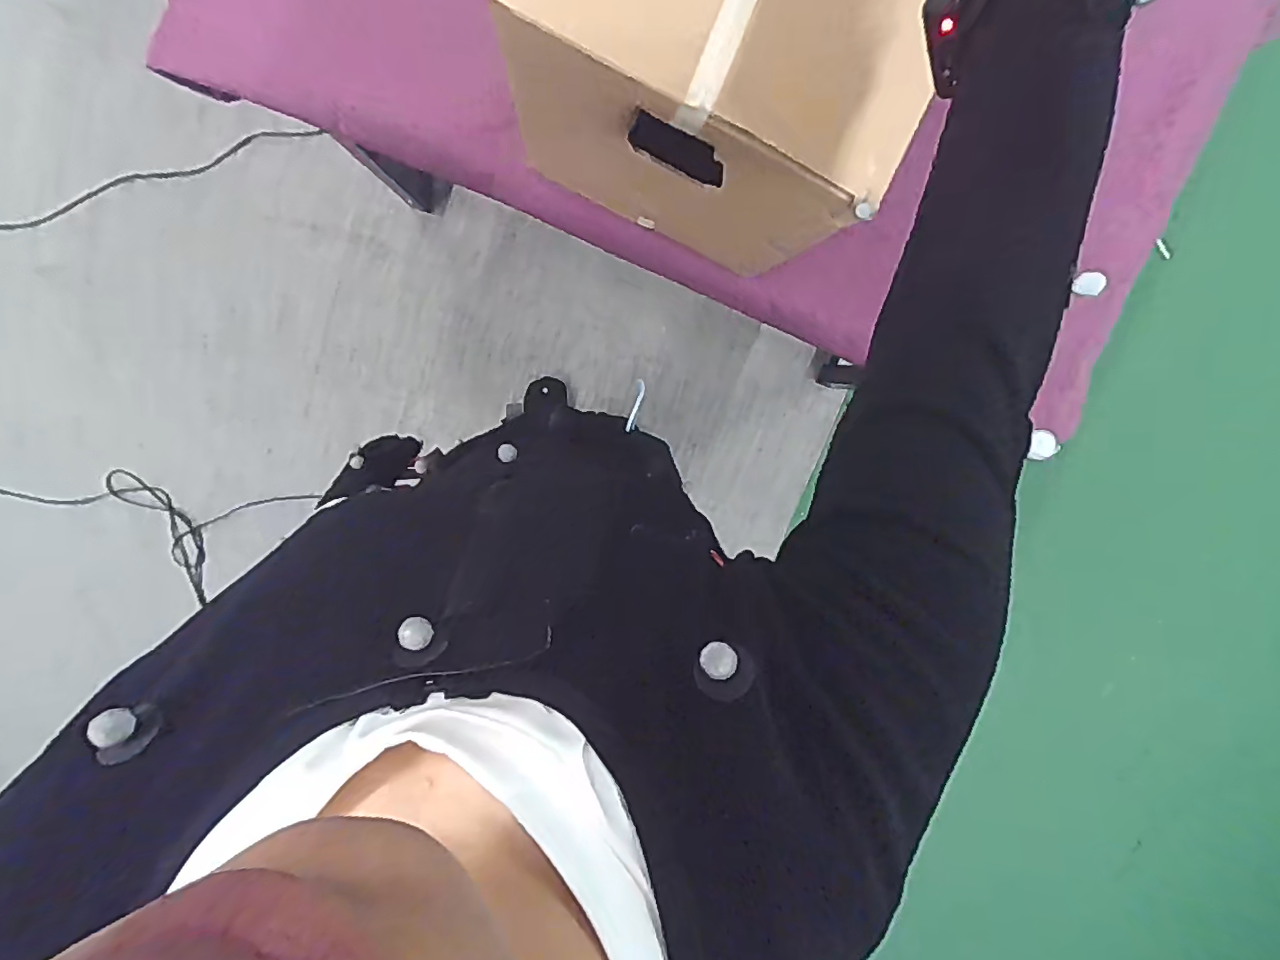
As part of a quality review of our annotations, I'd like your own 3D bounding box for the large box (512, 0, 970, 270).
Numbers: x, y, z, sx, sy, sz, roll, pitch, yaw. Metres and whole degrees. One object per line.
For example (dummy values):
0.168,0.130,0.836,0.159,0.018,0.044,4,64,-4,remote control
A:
0.107,-0.481,0.523,0.320,0.320,0.408,23,99,-10,large box
